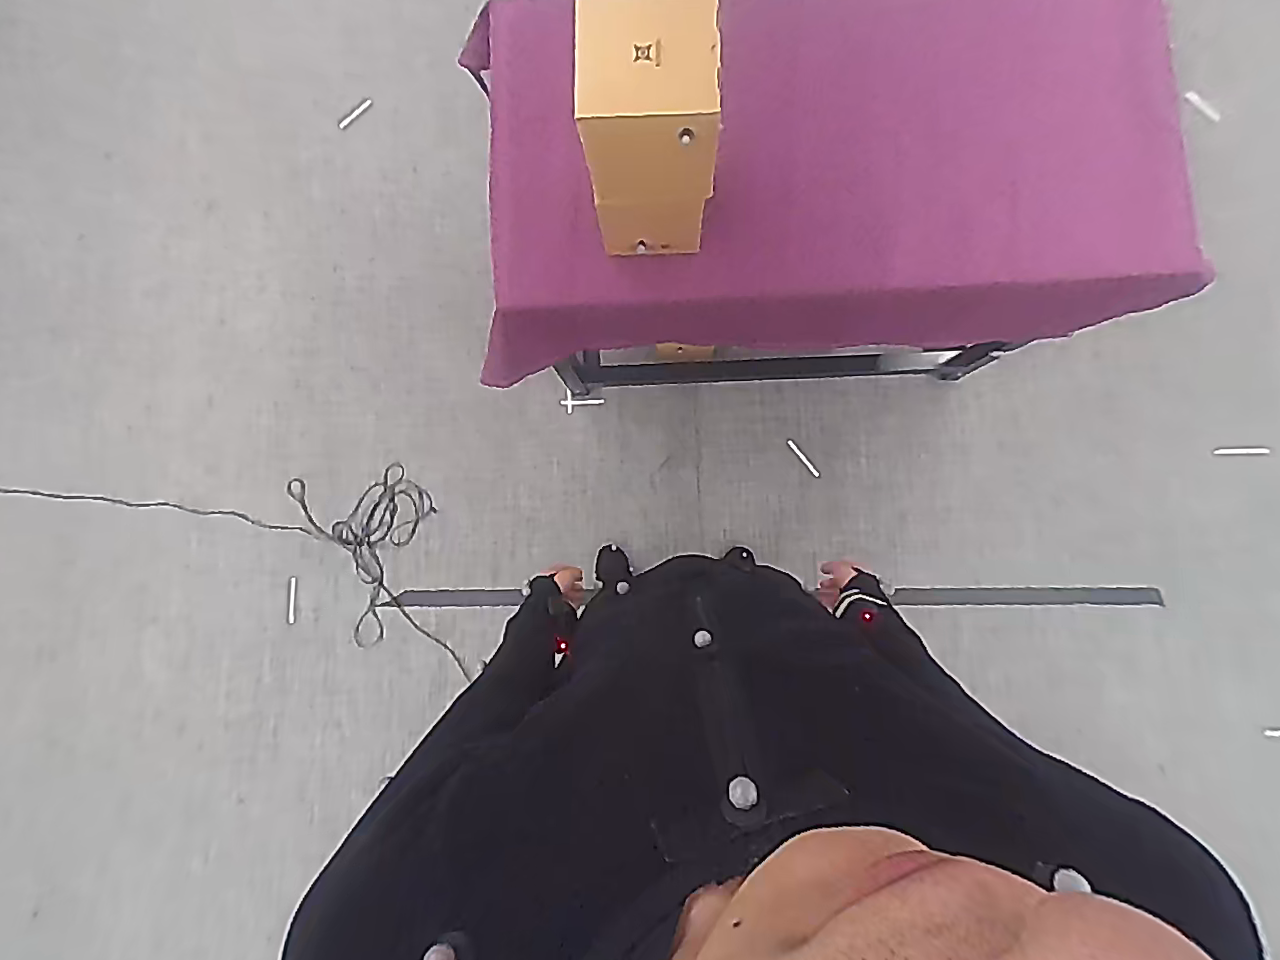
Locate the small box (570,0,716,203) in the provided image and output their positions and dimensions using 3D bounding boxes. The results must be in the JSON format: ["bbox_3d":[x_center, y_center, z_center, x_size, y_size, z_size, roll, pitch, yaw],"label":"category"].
[{"bbox_3d":[0.009,-0.494,0.722,0.179,0.176,0.168,0,85,3],"label":"small box"}]

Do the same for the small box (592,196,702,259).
[{"bbox_3d":[0.014,-0.486,0.884,0.168,0.176,0.179,-1,86,4],"label":"small box"}]
